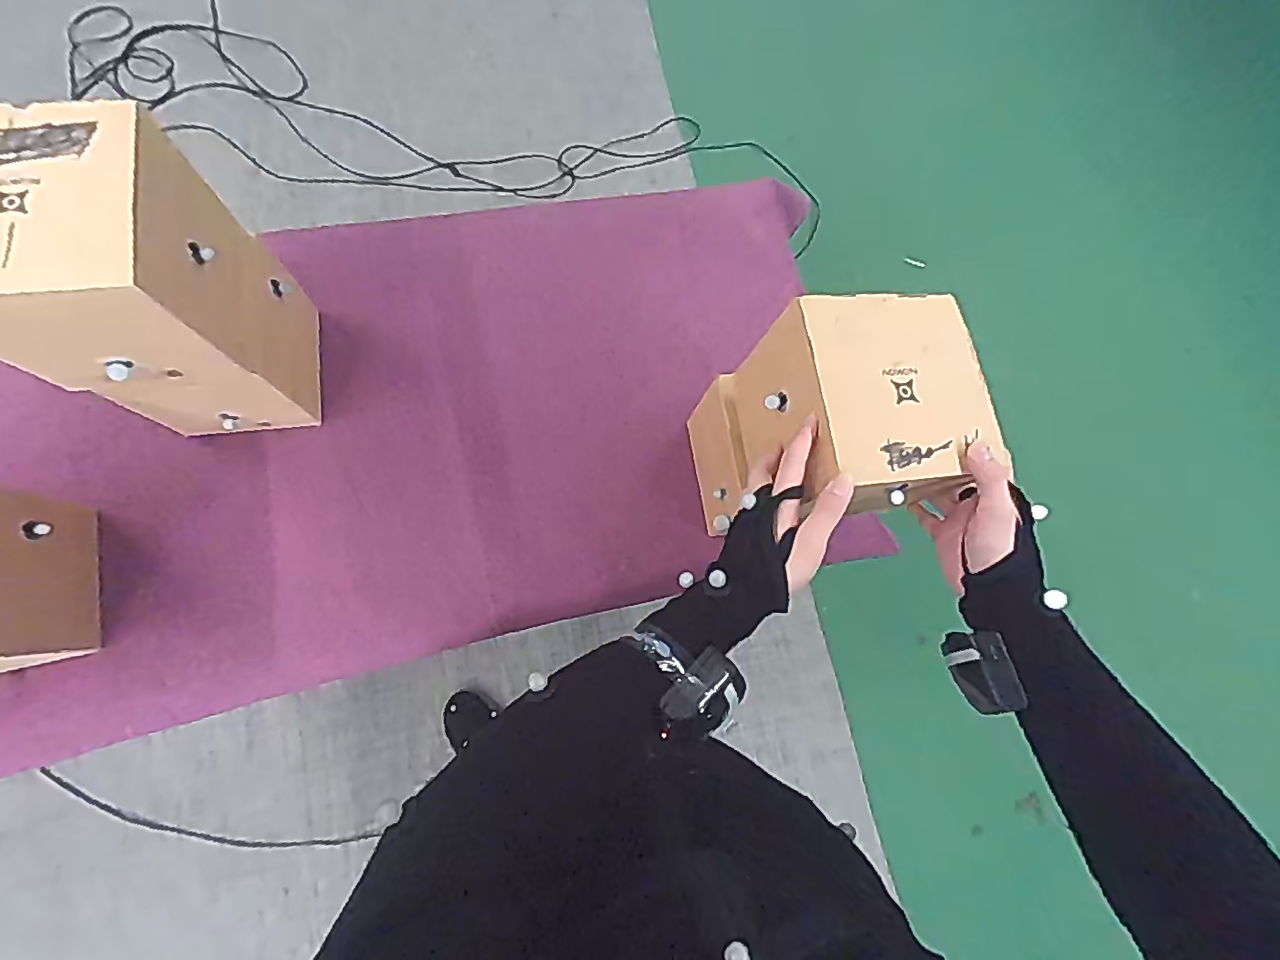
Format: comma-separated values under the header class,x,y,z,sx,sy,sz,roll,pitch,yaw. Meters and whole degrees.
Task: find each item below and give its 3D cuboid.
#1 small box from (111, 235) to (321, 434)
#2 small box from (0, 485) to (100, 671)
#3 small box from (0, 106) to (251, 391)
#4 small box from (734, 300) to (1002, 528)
class,x,y,z,sx,sy,sz,roll,pitch,yaw
small box,-0.508,-0.168,0.654,0.168,0.176,0.179,-6,78,-10
small box,-0.713,0.110,0.555,0.168,0.176,0.179,-11,78,-11
small box,-0.488,-0.199,0.494,0.168,0.176,0.179,-8,79,-10
small box,0.207,-0.058,0.544,0.168,0.176,0.179,-5,76,-12
